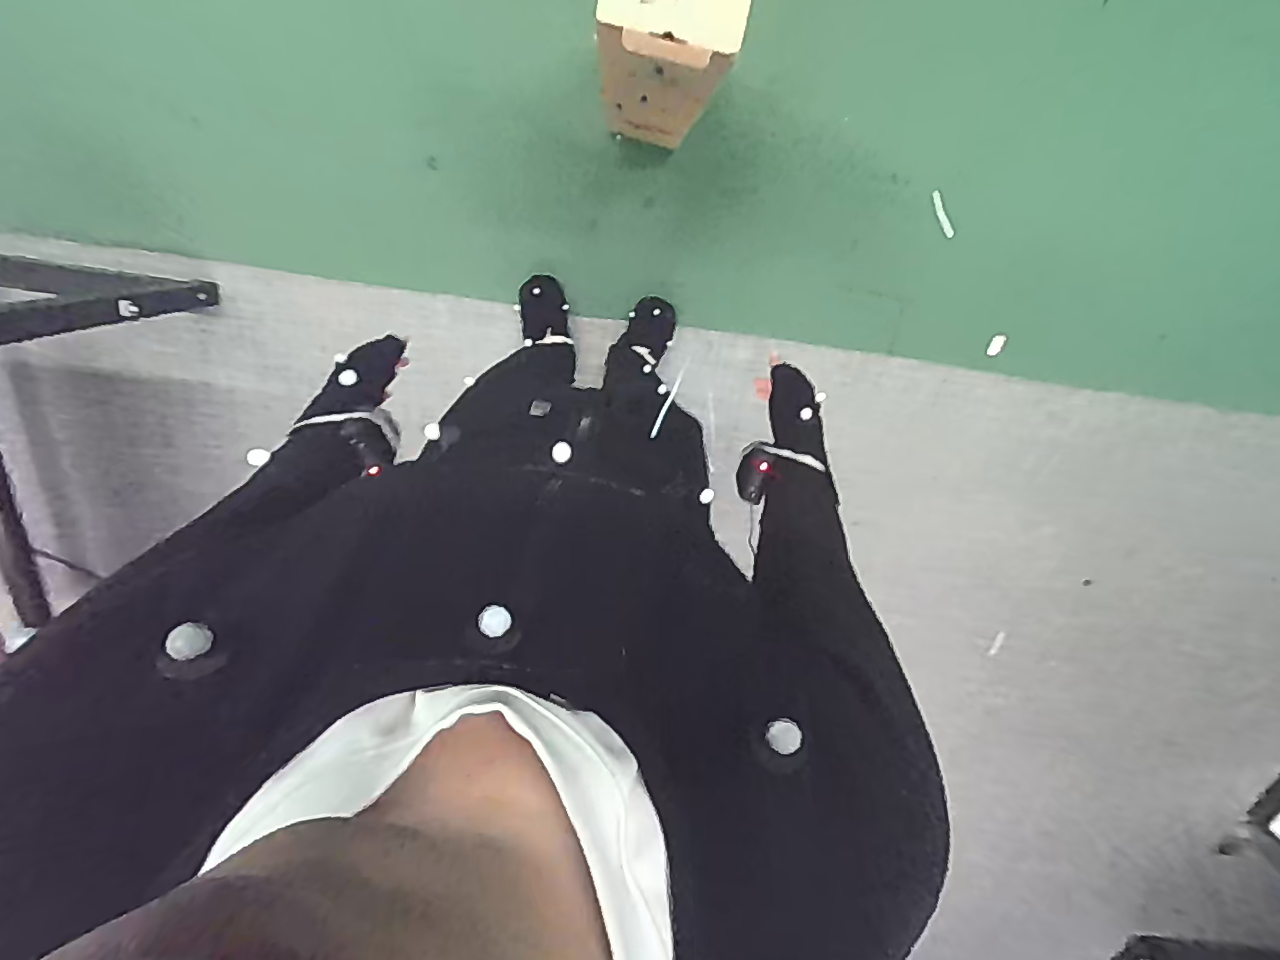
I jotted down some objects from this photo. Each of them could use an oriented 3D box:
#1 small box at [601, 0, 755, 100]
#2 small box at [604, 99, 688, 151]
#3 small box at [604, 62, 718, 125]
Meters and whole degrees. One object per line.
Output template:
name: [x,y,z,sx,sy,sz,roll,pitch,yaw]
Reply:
small box: [0.047,-0.593,0.646,0.168,0.176,0.179,9,113,-7]
small box: [0.023,-0.786,1.098,0.168,0.176,0.179,8,115,-6]
small box: [0.039,-0.657,0.797,0.168,0.176,0.179,9,113,-7]
